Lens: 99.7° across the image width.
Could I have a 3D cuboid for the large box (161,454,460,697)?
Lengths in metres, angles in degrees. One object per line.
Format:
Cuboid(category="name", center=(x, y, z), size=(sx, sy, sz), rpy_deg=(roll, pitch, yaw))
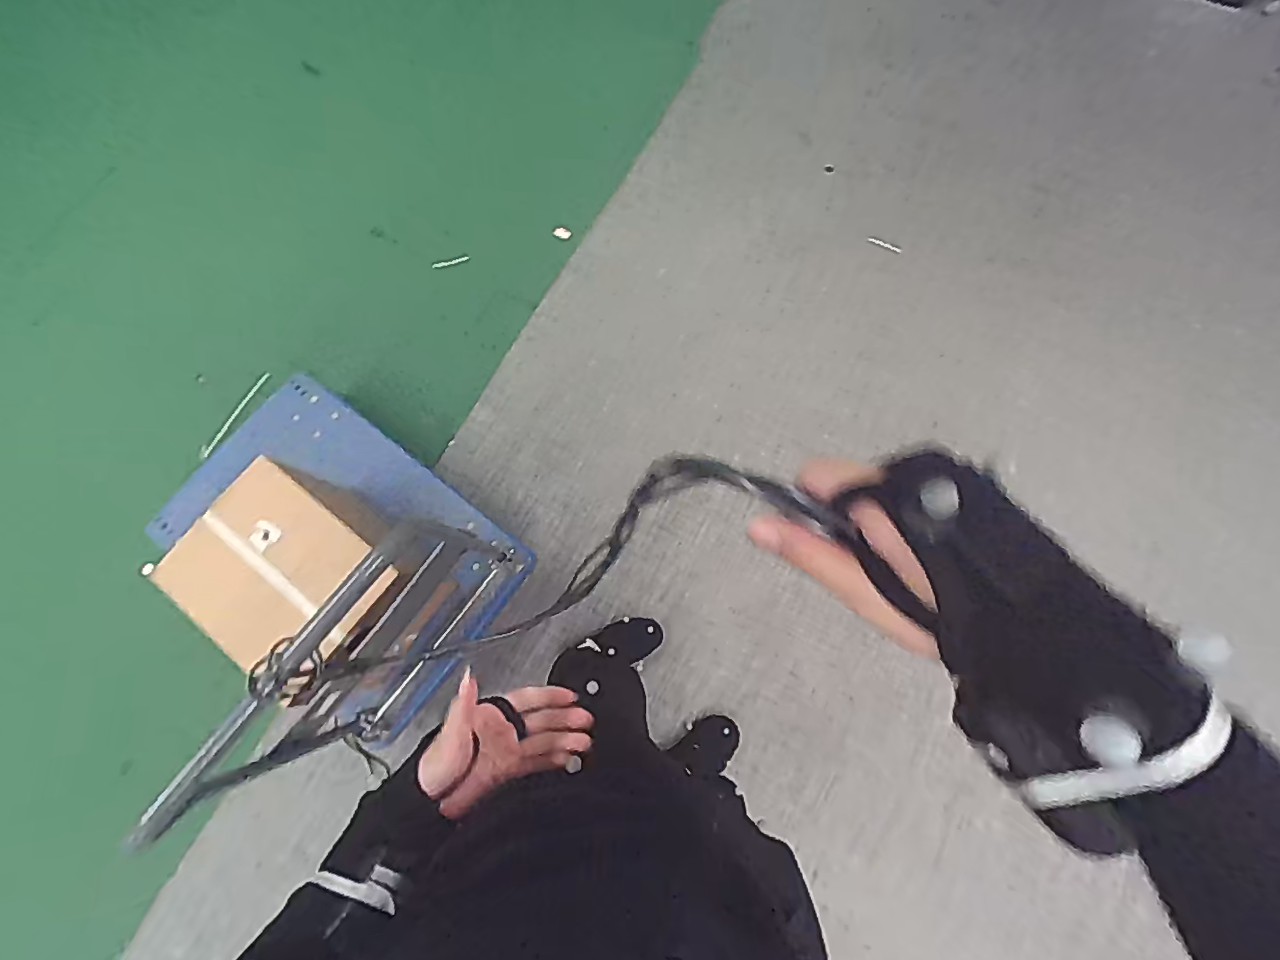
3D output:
Cuboid(category="large box", center=(-0.693, 0.210, 1.201), size=(0.408, 0.320, 0.320), rpy_deg=(36, 80, 11))
